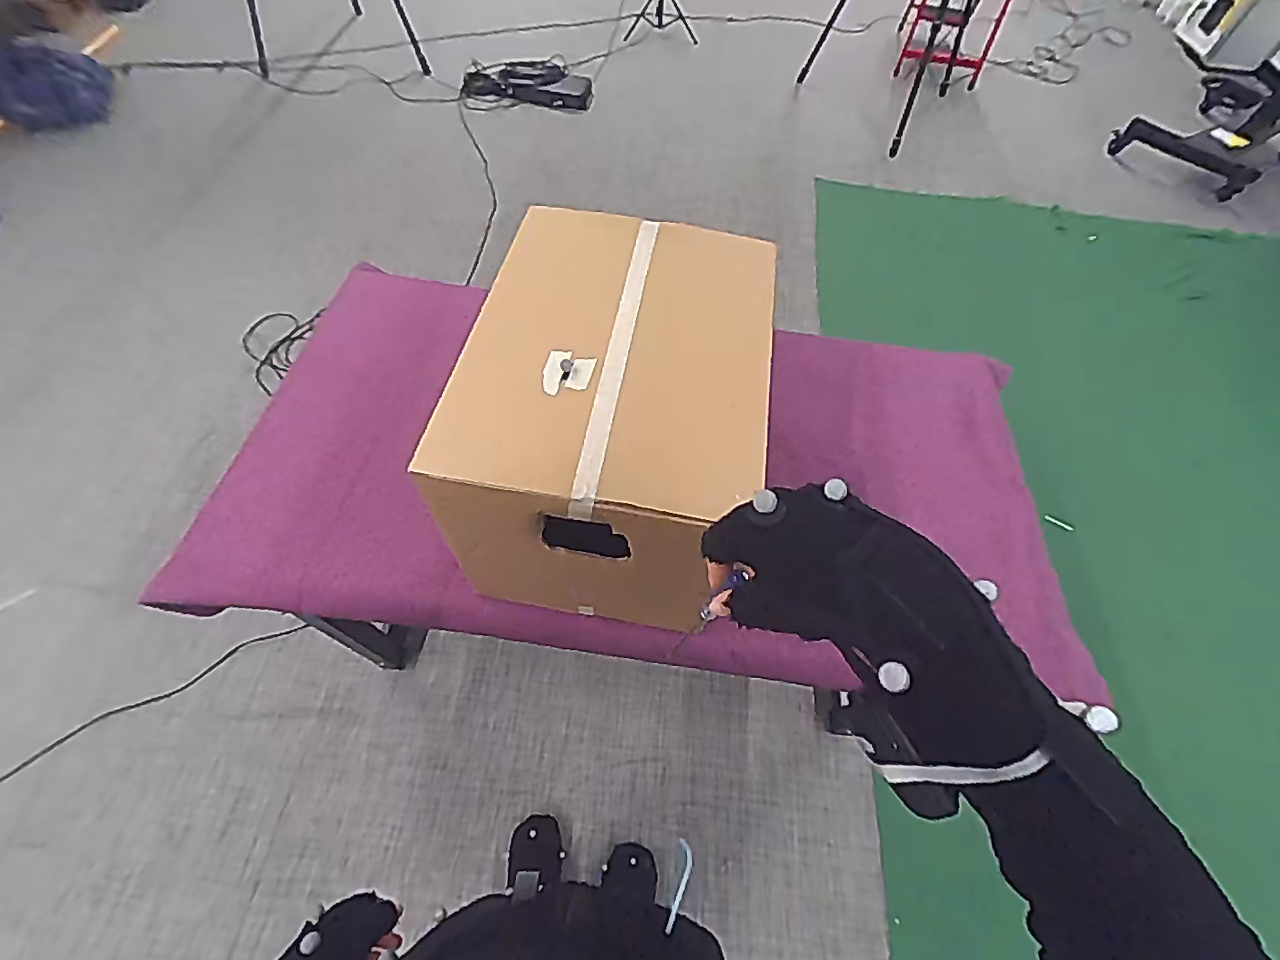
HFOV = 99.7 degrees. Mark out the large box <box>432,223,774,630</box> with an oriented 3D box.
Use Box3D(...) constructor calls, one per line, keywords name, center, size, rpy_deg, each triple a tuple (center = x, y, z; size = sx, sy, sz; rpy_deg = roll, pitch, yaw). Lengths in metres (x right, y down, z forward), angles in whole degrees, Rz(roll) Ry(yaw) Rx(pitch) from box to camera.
Box3D(name="large box", center=(-0.023, -0.061, 0.716), size=(0.320, 0.320, 0.408), rpy_deg=(10, 59, 2))
